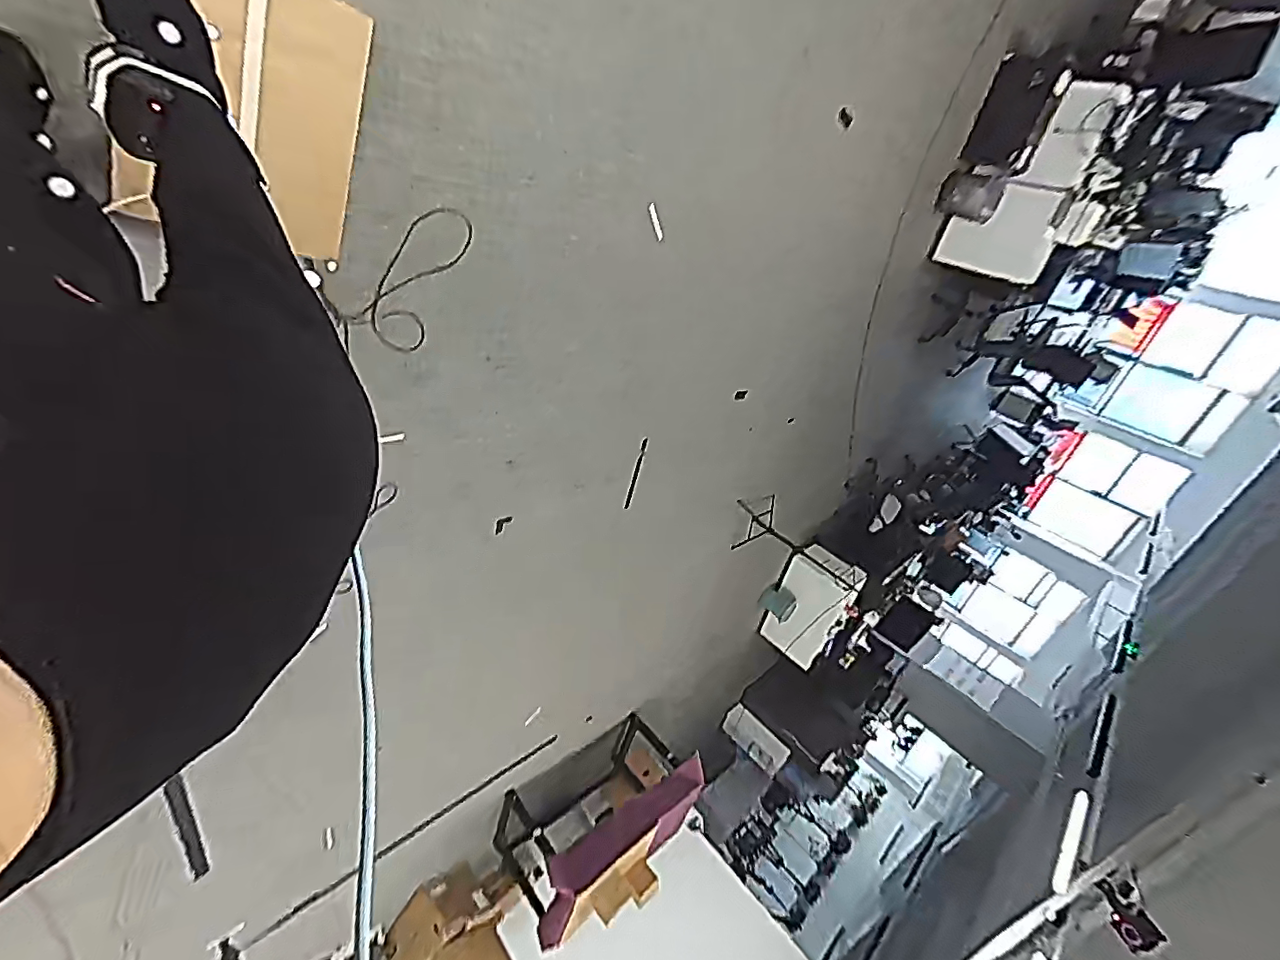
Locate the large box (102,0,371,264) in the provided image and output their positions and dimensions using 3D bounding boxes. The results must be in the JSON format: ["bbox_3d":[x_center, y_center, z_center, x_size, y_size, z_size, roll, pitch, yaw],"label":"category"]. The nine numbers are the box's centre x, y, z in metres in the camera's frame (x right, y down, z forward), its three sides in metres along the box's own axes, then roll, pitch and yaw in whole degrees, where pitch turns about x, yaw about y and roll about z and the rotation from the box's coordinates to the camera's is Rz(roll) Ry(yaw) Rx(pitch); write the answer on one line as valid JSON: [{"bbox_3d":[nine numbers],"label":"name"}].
[{"bbox_3d":[-0.719,-0.661,0.954,0.320,0.320,0.408,-2,123,-47],"label":"large box"}]
